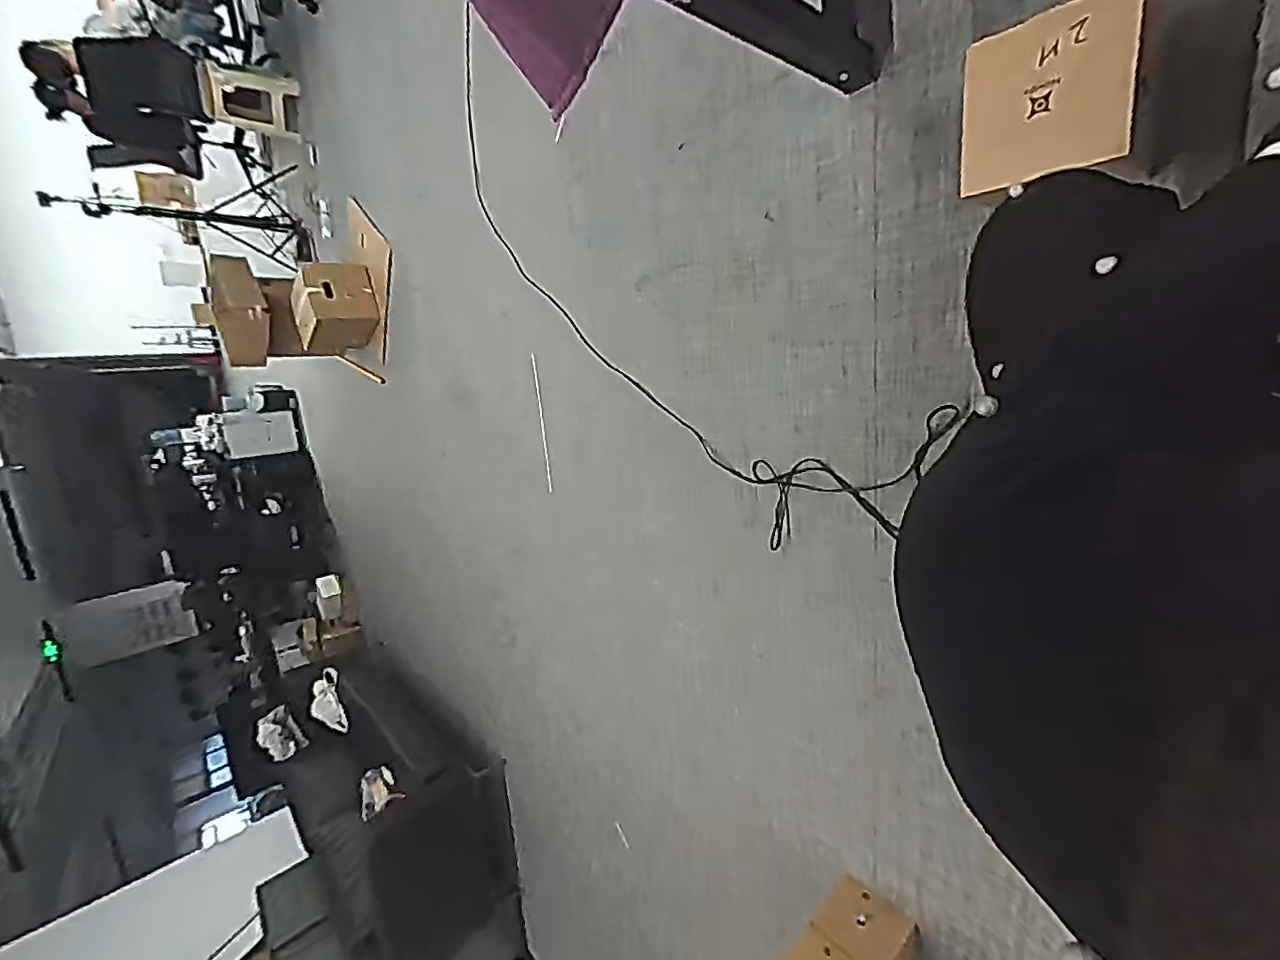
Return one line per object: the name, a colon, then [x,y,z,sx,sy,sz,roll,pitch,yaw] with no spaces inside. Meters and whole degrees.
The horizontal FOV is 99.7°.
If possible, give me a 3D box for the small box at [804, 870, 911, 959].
small box: [0.470,1.011,1.176,0.168,0.176,0.179,12,109,48]
